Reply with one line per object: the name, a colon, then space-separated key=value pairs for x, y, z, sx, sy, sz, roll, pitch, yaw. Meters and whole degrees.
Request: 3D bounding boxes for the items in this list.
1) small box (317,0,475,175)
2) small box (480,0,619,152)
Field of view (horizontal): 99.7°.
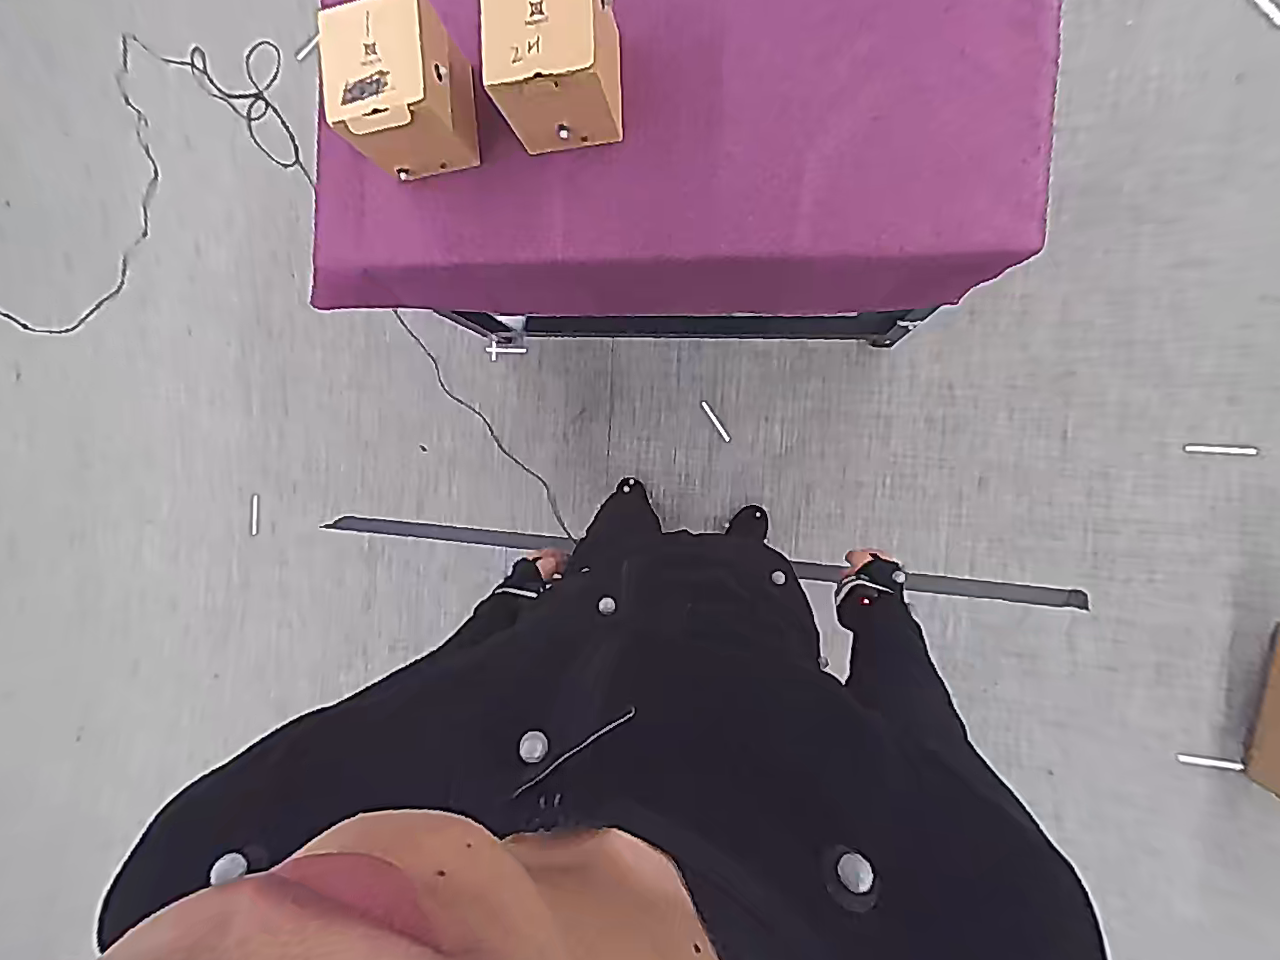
small box: x=-0.382 y=-0.623 z=0.874 sx=0.168 sy=0.176 sz=0.179 roll=-6 pitch=89 yaw=10
small box: x=-0.130 y=-0.643 z=0.827 sx=0.168 sy=0.176 sz=0.179 roll=-1 pitch=91 yaw=11
